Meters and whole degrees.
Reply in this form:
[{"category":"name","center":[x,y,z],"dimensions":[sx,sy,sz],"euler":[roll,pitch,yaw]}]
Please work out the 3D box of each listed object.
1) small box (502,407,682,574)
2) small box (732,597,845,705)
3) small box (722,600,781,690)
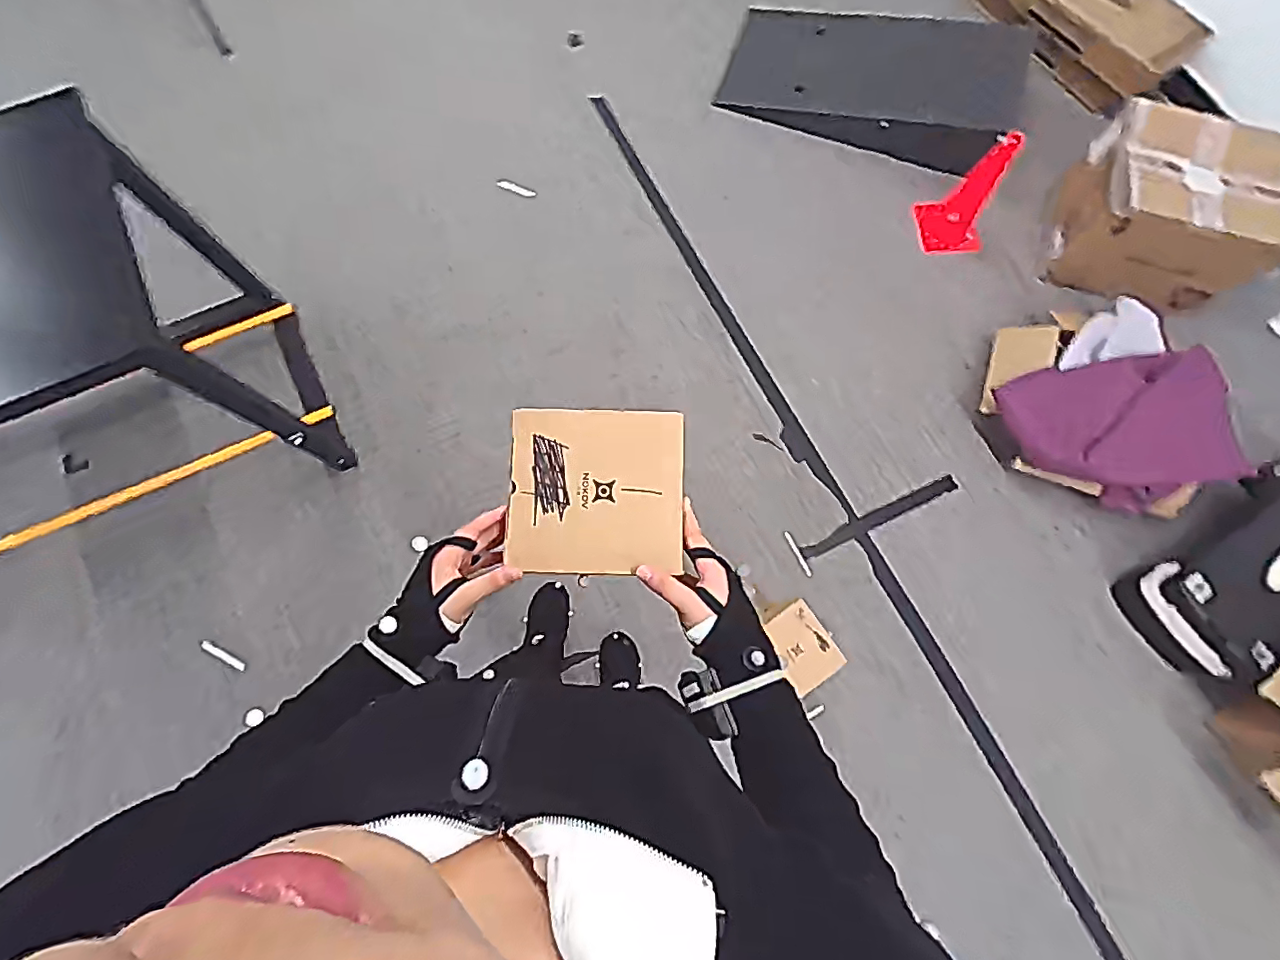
[{"category":"small box","center":[-0.045,0.021,0.612],"dimensions":[0.179,0.176,0.168],"euler":[0,81,-1]},{"category":"small box","center":[0.329,0.388,1.245],"dimensions":[0.179,0.176,0.168],"euler":[-32,79,-8]},{"category":"small box","center":[0.335,0.427,1.404],"dimensions":[0.168,0.176,0.179],"euler":[-31,78,-9]}]
